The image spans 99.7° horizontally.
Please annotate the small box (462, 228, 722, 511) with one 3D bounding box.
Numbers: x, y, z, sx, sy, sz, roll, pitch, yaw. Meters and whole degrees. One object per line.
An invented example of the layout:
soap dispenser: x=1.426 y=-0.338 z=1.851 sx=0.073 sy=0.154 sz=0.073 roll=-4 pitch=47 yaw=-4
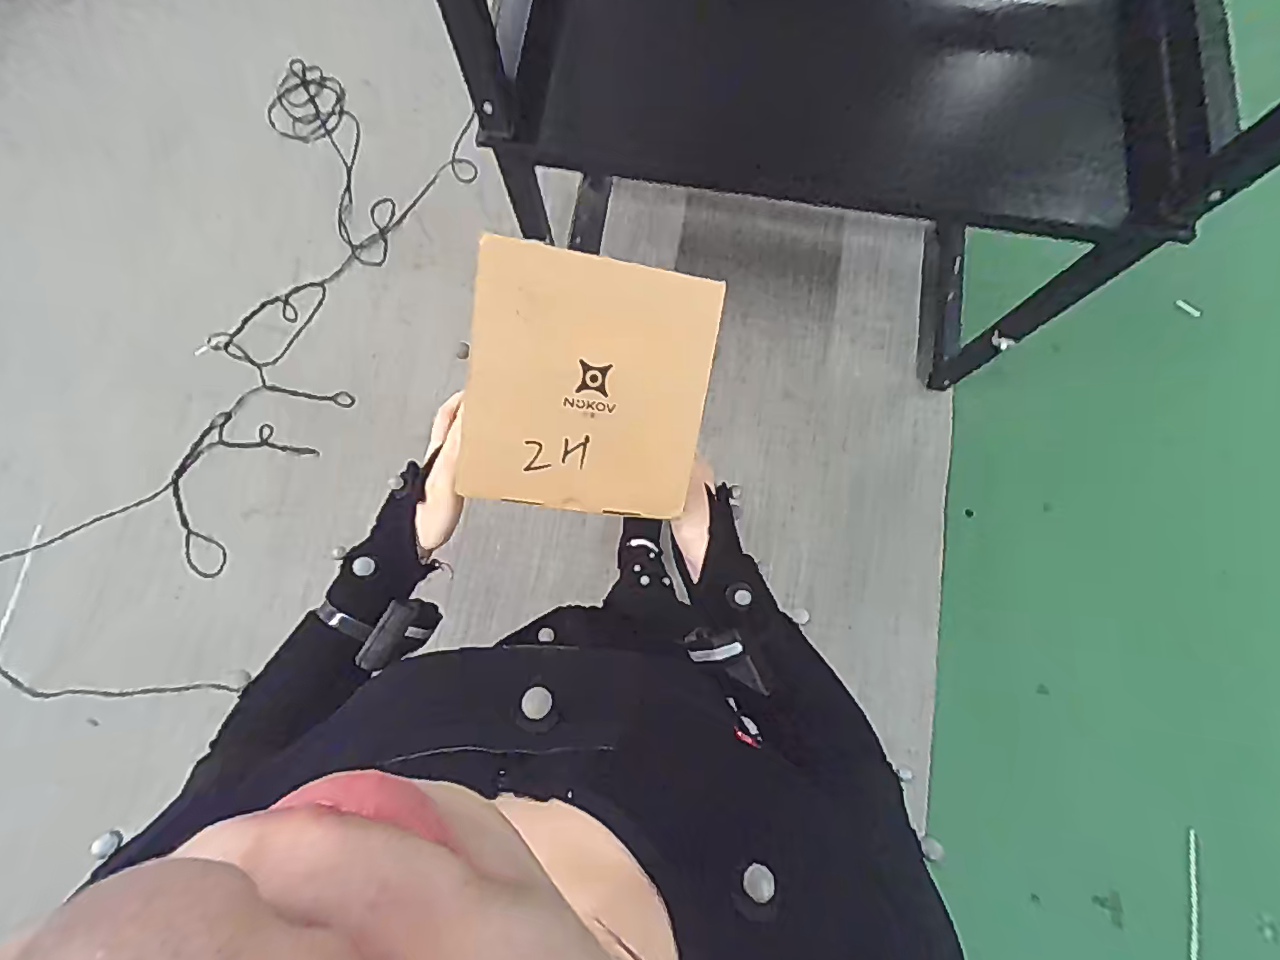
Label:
small box: x=-0.047 y=-0.089 z=0.460 sx=0.168 sy=0.176 sz=0.179 roll=8 pitch=103 yaw=-11
